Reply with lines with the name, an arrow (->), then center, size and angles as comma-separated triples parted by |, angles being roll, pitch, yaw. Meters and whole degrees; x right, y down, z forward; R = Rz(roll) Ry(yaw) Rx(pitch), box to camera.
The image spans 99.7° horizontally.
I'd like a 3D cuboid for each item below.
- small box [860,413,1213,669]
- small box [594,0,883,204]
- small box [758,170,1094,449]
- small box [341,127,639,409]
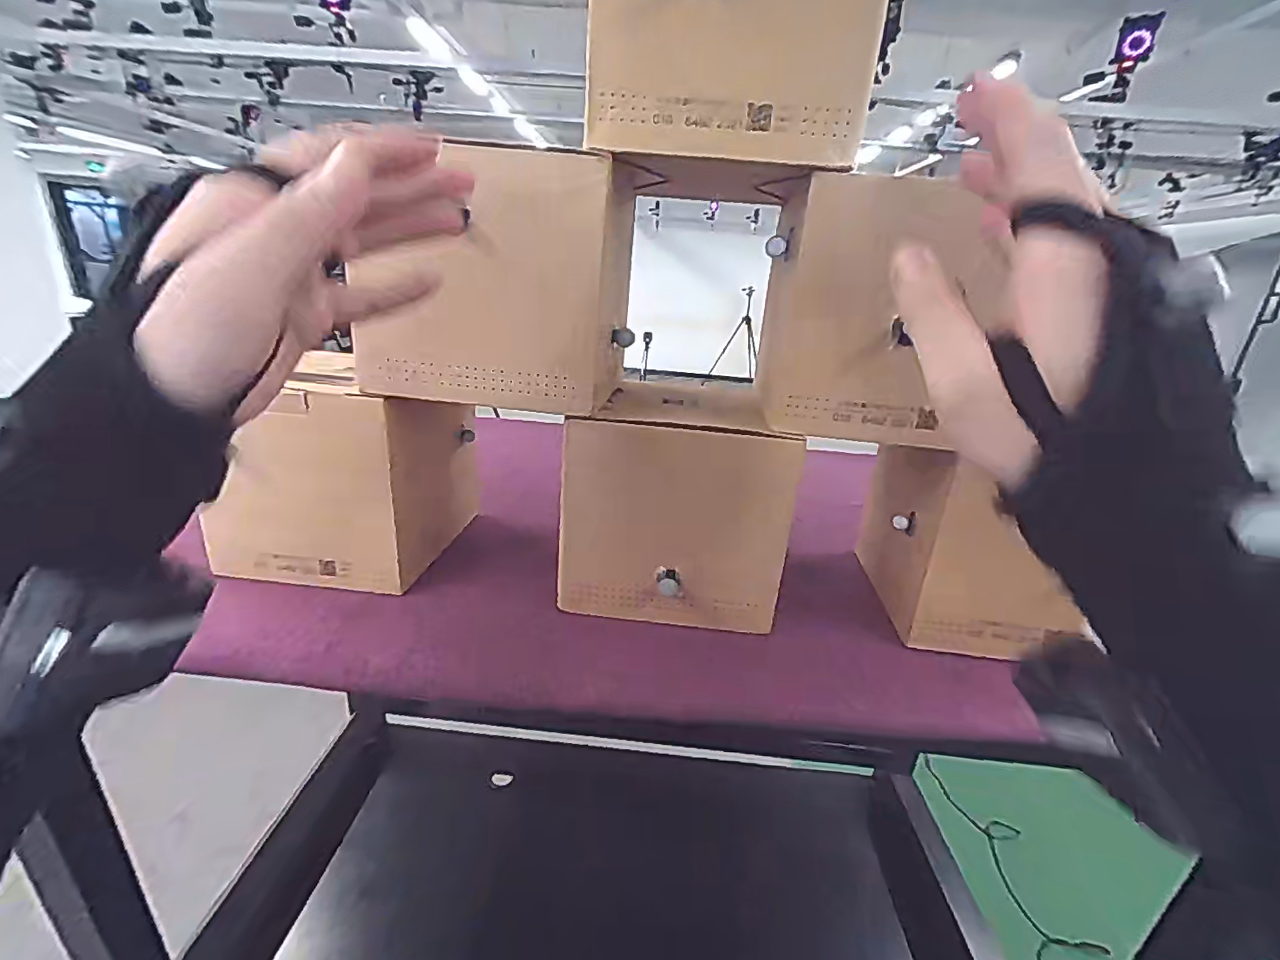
small box -> 0.309, 0.038, 0.472 | 0.168, 0.176, 0.179 | 7, 19, 6
small box -> 0.061, -0.295, 0.375 | 0.168, 0.176, 0.179 | 5, 19, 3
small box -> 0.190, -0.130, 0.425 | 0.168, 0.176, 0.179 | 7, 20, 6
small box -> -0.101, -0.157, 0.431 | 0.179, 0.176, 0.168 | 7, 20, 4
